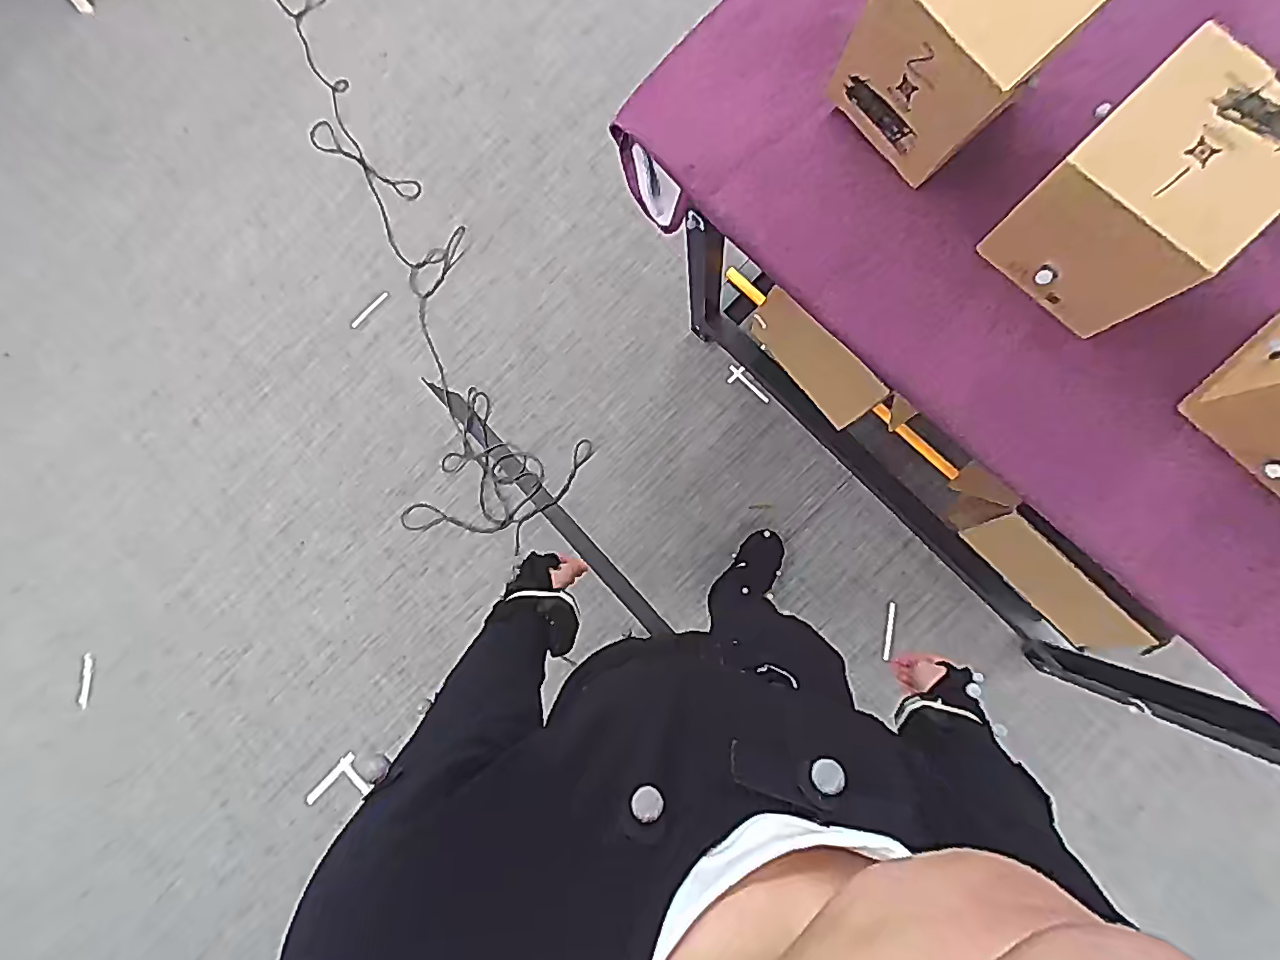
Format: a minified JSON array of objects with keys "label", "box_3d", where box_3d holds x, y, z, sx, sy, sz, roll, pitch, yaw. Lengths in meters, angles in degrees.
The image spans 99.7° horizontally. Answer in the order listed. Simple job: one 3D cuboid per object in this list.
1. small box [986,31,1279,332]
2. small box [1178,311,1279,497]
[{"label":"small box","box_3d":[0.519,-0.292,0.567,0.179,0.176,0.168,-44,82,1]},{"label":"small box","box_3d":[0.717,-0.087,0.522,0.168,0.176,0.179,-43,81,0]}]
